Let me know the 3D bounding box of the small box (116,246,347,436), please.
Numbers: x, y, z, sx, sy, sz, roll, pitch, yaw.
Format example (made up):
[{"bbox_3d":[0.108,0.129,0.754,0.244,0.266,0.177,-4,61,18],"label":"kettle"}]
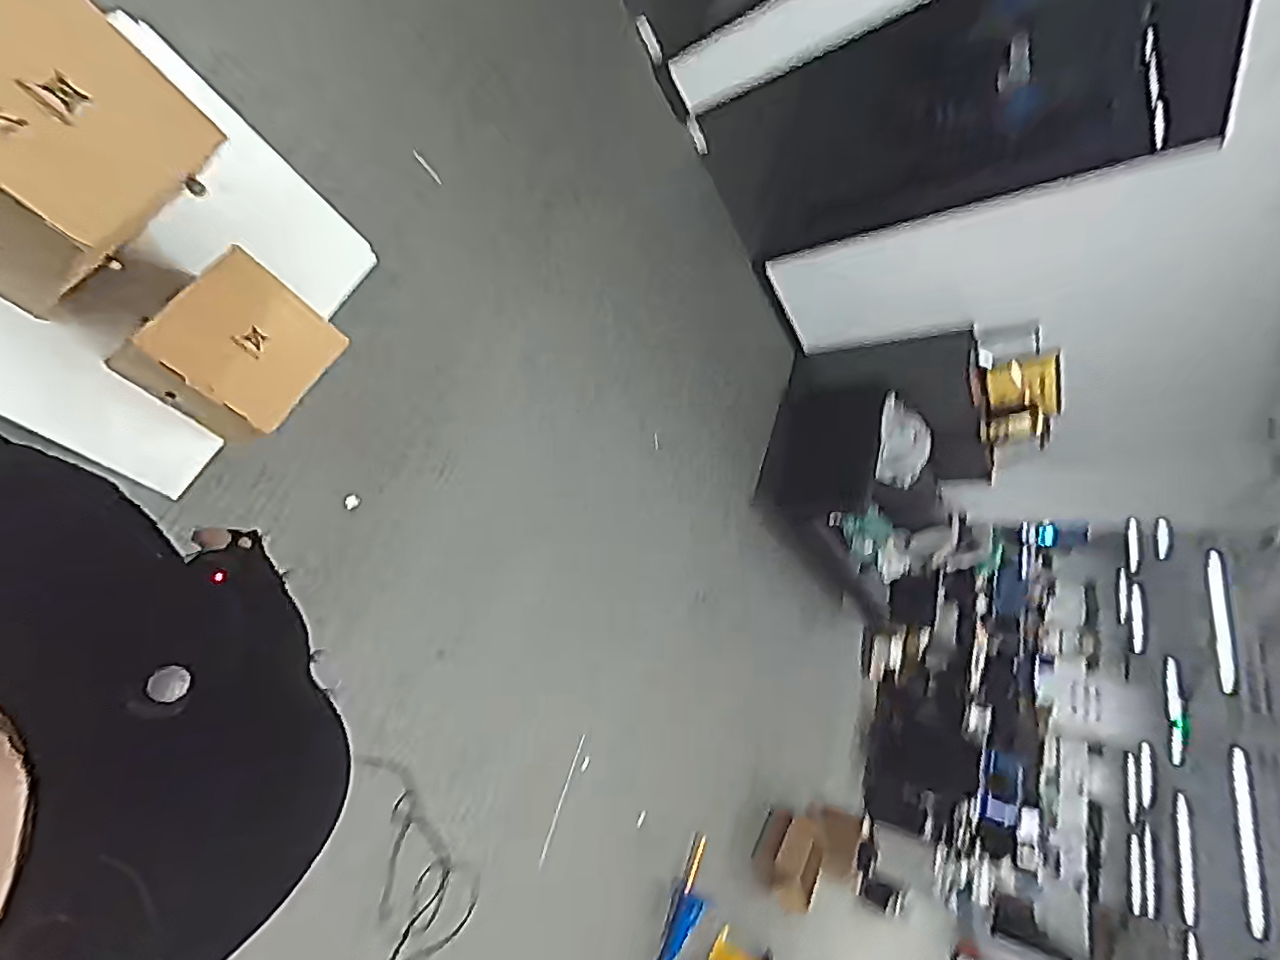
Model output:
[{"bbox_3d":[-0.549,-0.176,0.730,0.168,0.176,0.179,48,55,-39],"label":"small box"}]

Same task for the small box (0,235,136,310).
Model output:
[{"bbox_3d":[-0.665,-0.311,0.580,0.168,0.176,0.179,48,55,-41],"label":"small box"}]

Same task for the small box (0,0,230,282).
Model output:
[{"bbox_3d":[-0.531,-0.310,0.484,0.168,0.176,0.179,49,54,-40],"label":"small box"}]
